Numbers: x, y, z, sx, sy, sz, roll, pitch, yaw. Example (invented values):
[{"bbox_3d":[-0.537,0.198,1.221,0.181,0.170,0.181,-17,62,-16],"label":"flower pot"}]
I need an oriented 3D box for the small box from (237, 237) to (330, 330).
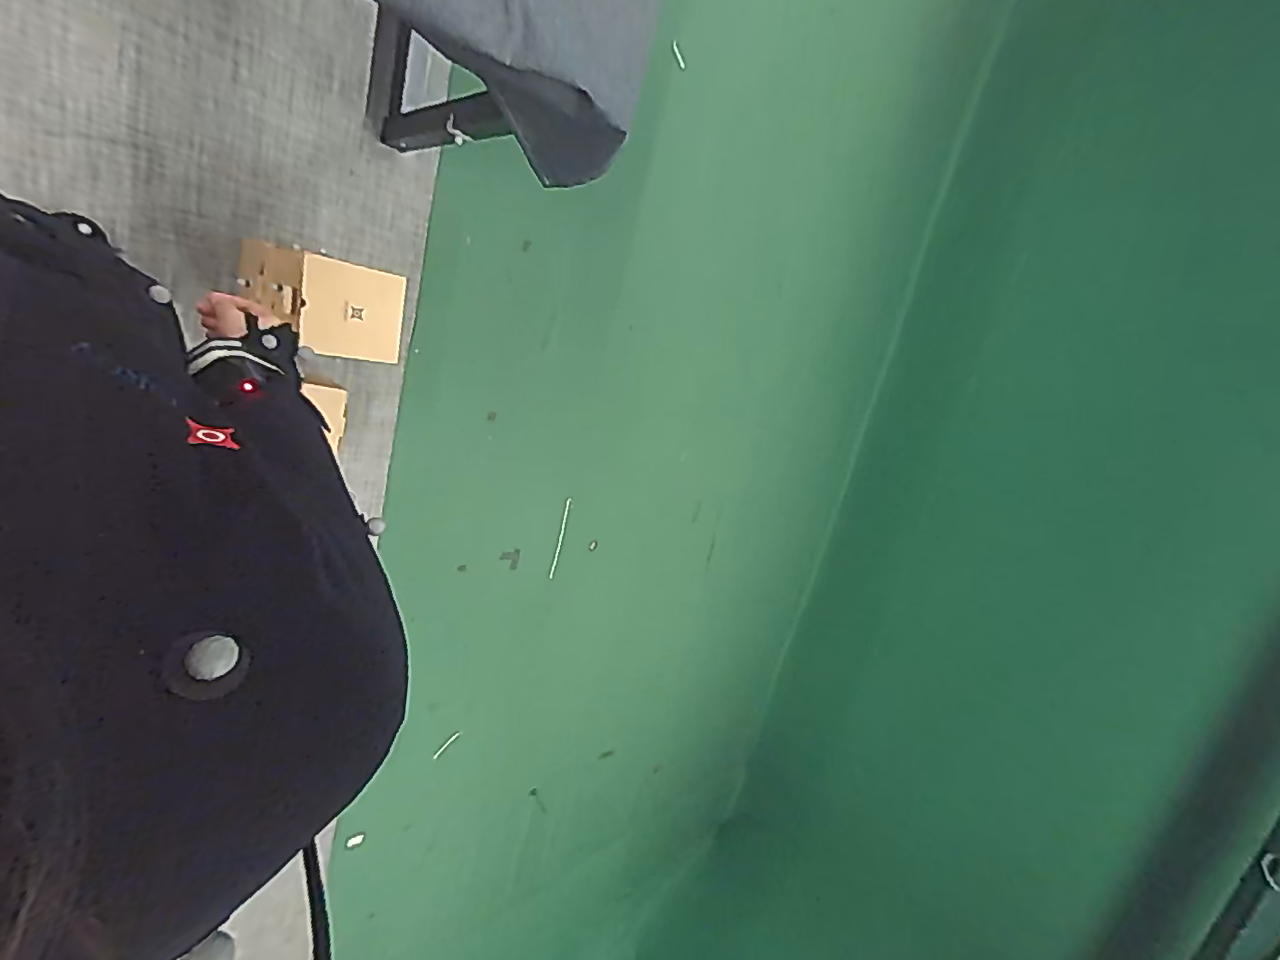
[{"bbox_3d":[-0.698,-0.381,1.102,0.179,0.176,0.168,-1,108,-48],"label":"small box"}]

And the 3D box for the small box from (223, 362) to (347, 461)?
[{"bbox_3d":[-0.759,-0.146,1.154,0.179,0.176,0.168,4,104,-48],"label":"small box"}]

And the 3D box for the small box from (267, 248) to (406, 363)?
[{"bbox_3d":[-0.569,-0.327,1.013,0.179,0.176,0.168,-3,111,-48],"label":"small box"}]
